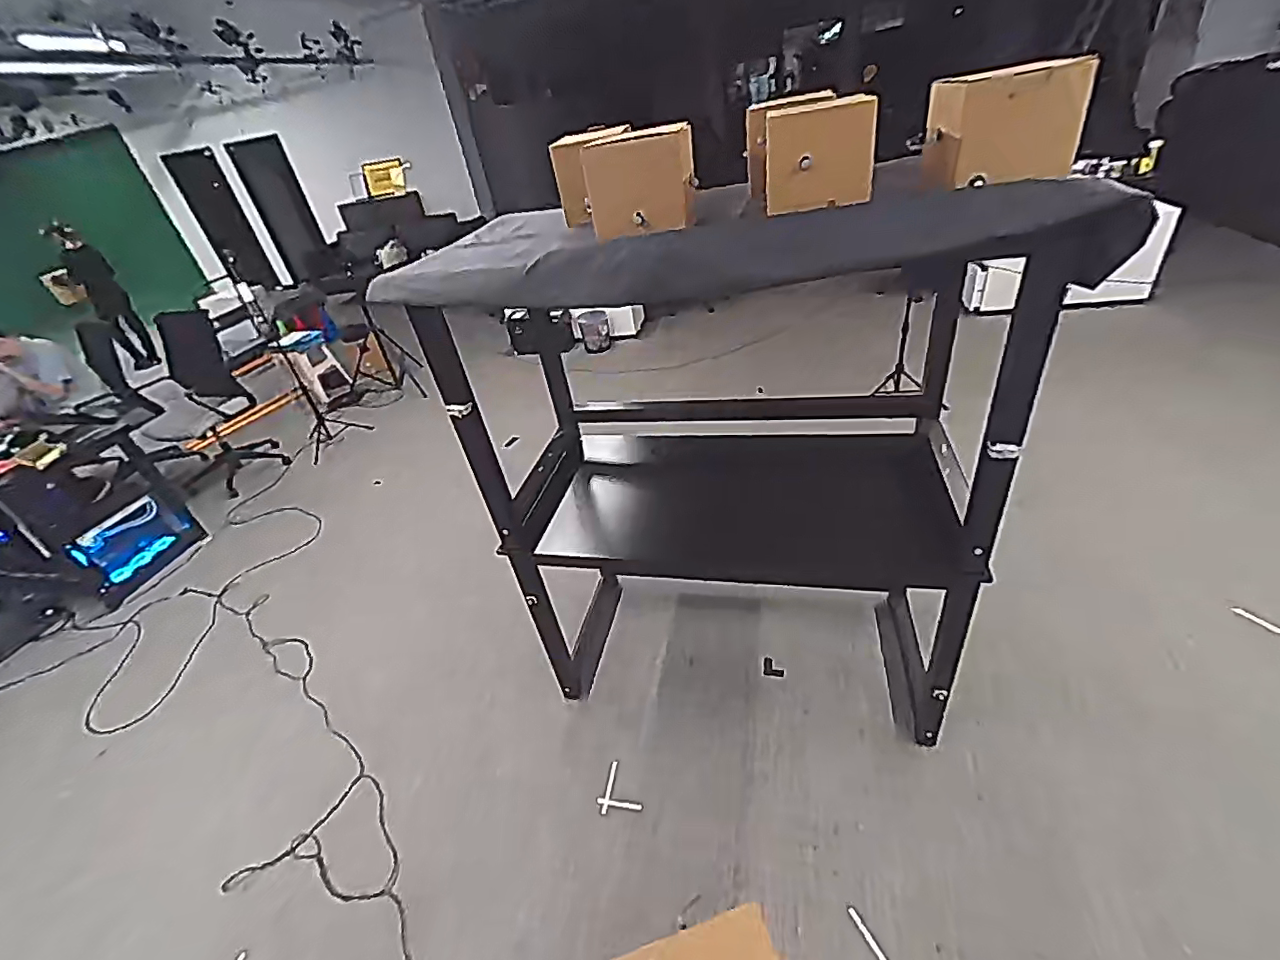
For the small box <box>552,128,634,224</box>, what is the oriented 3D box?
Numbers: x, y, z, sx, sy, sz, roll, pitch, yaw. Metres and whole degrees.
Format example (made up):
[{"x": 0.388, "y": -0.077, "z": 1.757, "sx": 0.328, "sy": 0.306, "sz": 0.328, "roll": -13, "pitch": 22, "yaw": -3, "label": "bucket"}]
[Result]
[{"x": -0.092, "y": -0.716, "z": 1.277, "sx": 0.168, "sy": 0.176, "sz": 0.179, "roll": -4, "pitch": 36, "yaw": 11, "label": "small box"}]

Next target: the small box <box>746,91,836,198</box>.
[{"x": 0.330, "y": -0.728, "z": 1.177, "sx": 0.179, "sy": 0.176, "sz": 0.168, "roll": 0, "pitch": 37, "yaw": 16, "label": "small box"}]

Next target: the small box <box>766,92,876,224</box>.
[{"x": 0.309, "y": -0.557, "z": 0.945, "sx": 0.168, "sy": 0.176, "sz": 0.179, "roll": -1, "pitch": 35, "yaw": 14, "label": "small box"}]

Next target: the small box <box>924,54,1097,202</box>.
[{"x": 0.572, "y": -0.554, "z": 0.864, "sx": 0.168, "sy": 0.176, "sz": 0.179, "roll": -3, "pitch": 34, "yaw": 12, "label": "small box"}]

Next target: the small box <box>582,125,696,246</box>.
[{"x": 0.009, "y": -0.555, "z": 1.024, "sx": 0.179, "sy": 0.176, "sz": 0.168, "roll": 0, "pitch": 36, "yaw": 14, "label": "small box"}]
